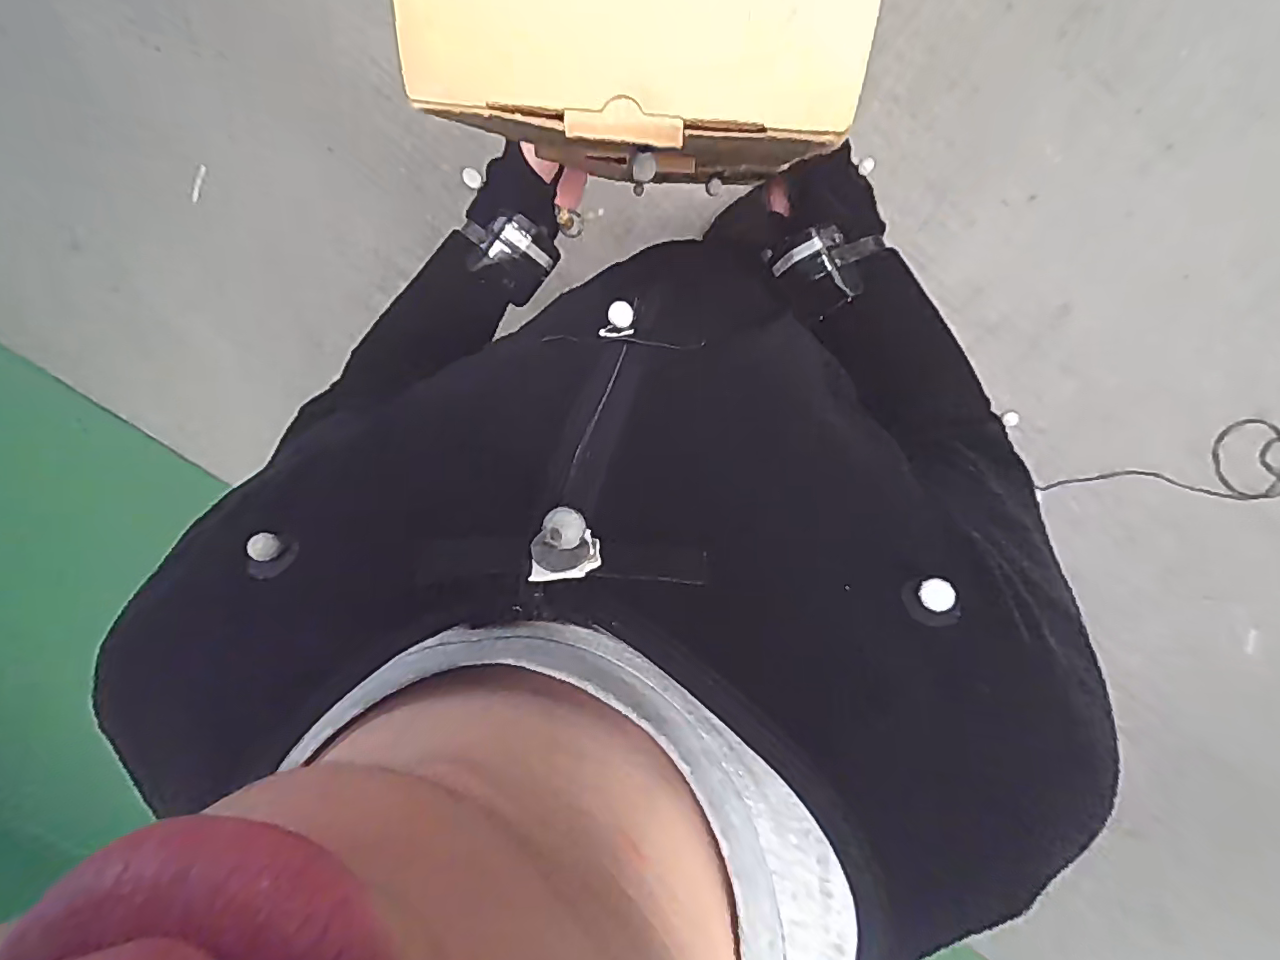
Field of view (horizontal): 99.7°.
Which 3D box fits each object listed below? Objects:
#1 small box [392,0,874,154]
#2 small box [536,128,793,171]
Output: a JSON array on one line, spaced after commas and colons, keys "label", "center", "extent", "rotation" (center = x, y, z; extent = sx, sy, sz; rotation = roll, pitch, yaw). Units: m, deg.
[{"label": "small box", "center": [0.010, -0.244, 0.224], "extent": [0.168, 0.176, 0.179], "rotation": [7, 119, 3]}, {"label": "small box", "center": [0.026, -0.317, 0.370], "extent": [0.168, 0.176, 0.179], "rotation": [4, 117, 4]}]
